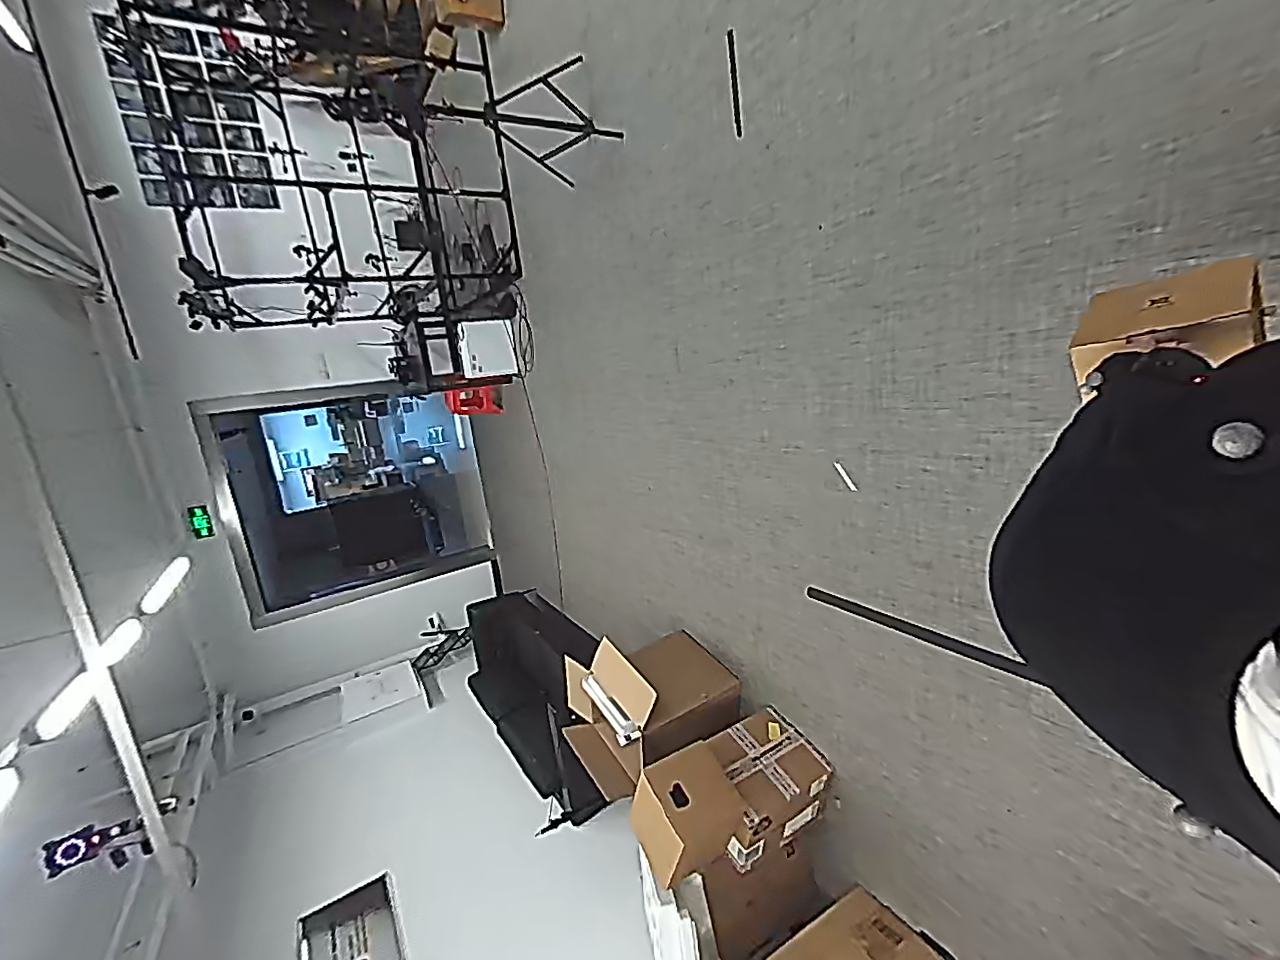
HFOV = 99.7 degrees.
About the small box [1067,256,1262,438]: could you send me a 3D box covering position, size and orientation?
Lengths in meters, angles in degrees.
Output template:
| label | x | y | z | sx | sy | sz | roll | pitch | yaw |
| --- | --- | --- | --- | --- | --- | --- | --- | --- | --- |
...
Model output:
| label | x | y | z | sx | sy | sz | roll | pitch | yaw |
| --- | --- | --- | --- | --- | --- | --- | --- | --- | --- |
| small box | 0.720 | -0.167 | 0.739 | 0.168 | 0.179 | 0.176 | -4 | 124 | 51 |
